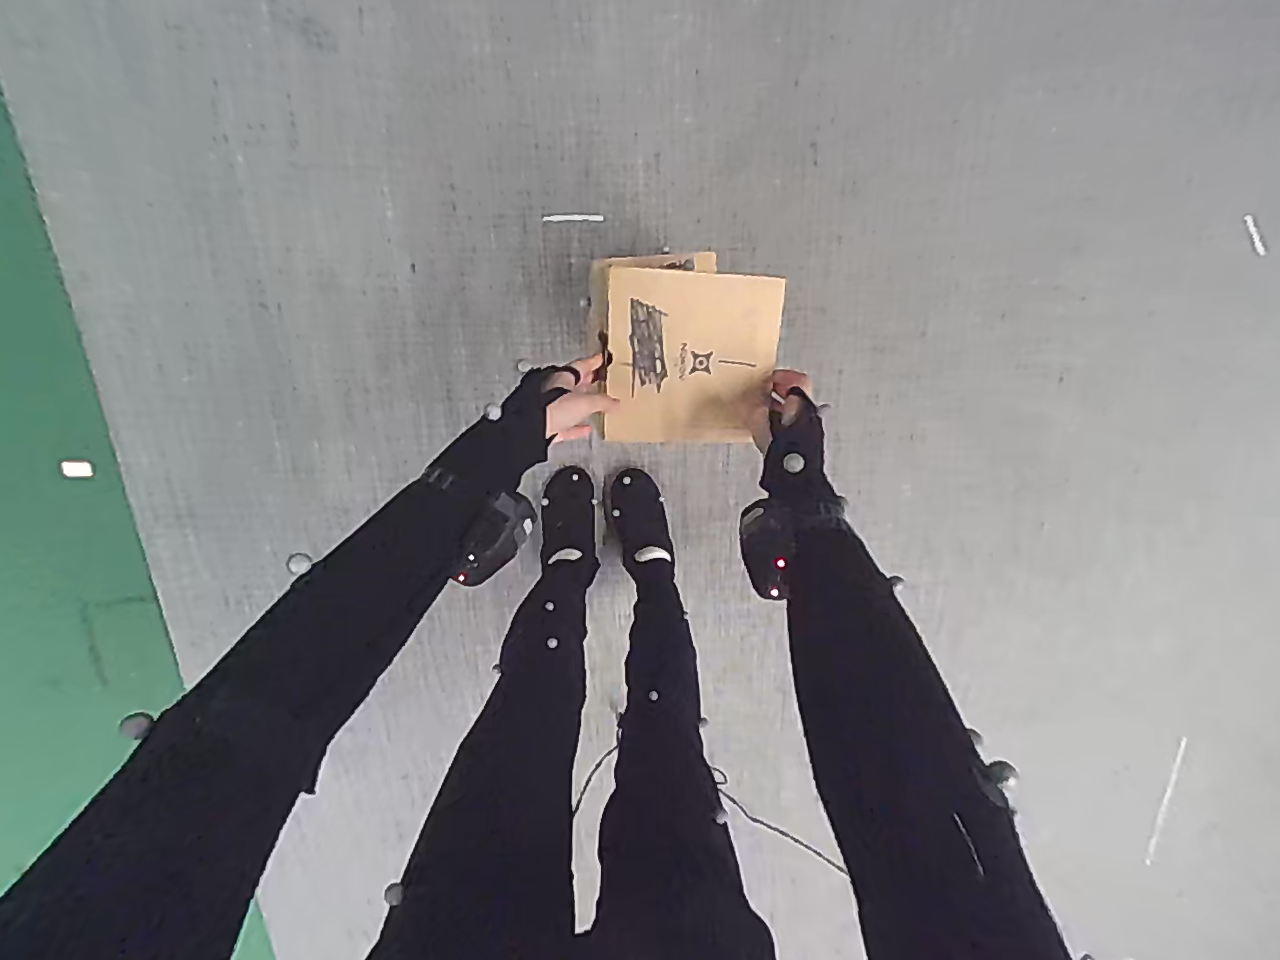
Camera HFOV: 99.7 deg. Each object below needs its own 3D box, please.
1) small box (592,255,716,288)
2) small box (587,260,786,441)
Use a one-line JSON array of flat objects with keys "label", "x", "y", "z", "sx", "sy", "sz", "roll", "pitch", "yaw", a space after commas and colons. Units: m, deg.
[{"label": "small box", "x": 0.017, "y": -0.233, "z": 0.808, "sx": 0.168, "sy": 0.176, "sz": 0.179, "roll": -5, "pitch": 107, "yaw": -5}, {"label": "small box", "x": 0.036, "y": -0.143, "z": 0.599, "sx": 0.179, "sy": 0.176, "sz": 0.168, "roll": 0, "pitch": 108, "yaw": -12}]
